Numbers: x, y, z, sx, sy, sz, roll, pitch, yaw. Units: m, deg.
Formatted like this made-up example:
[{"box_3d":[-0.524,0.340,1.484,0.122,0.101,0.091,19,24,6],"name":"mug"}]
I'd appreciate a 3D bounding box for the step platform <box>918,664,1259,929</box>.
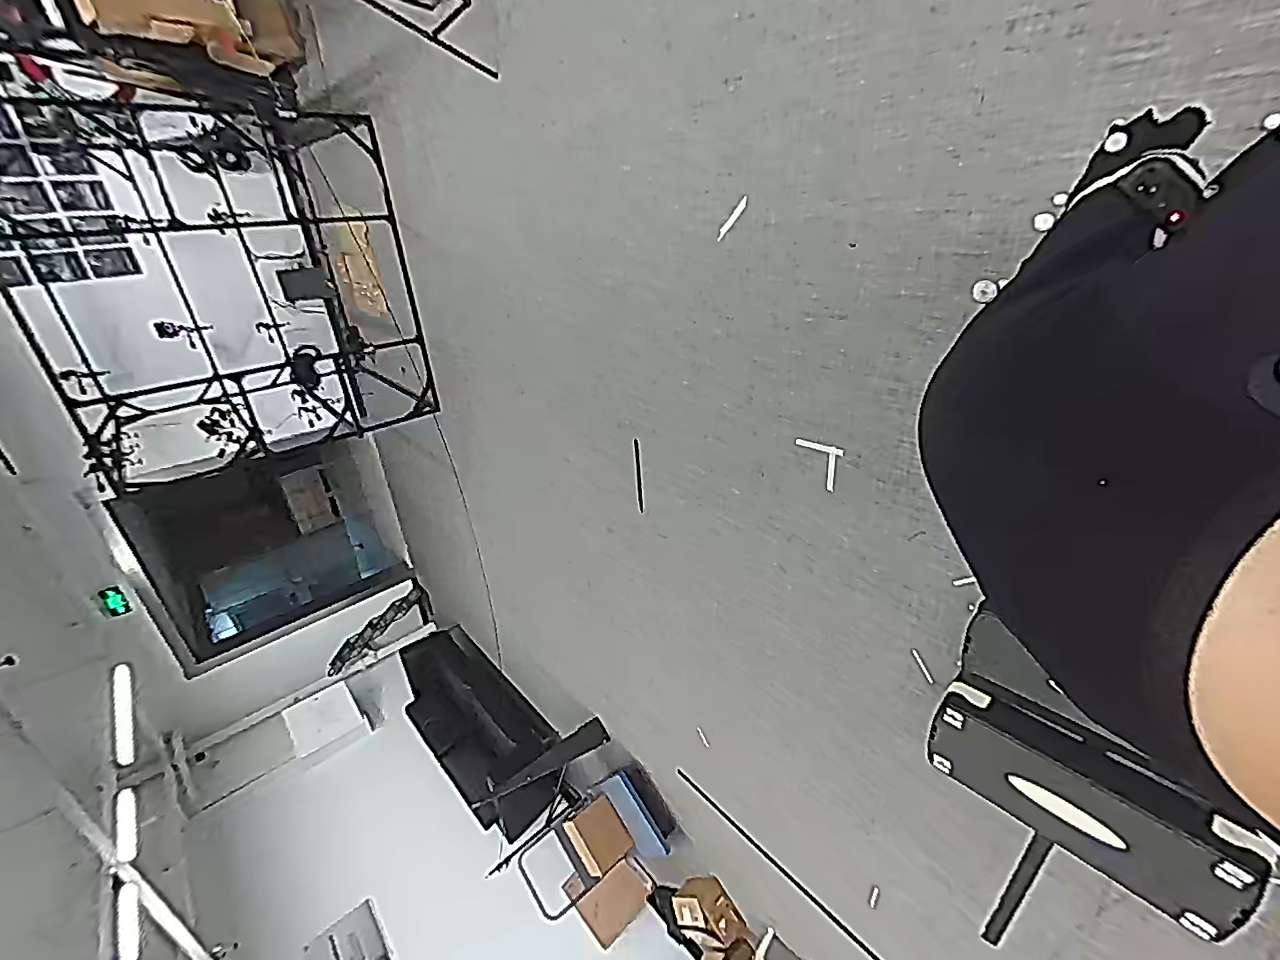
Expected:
[{"box_3d":[1.130,0.805,1.451,0.684,0.204,0.286,24,128,45],"name":"step platform"}]
